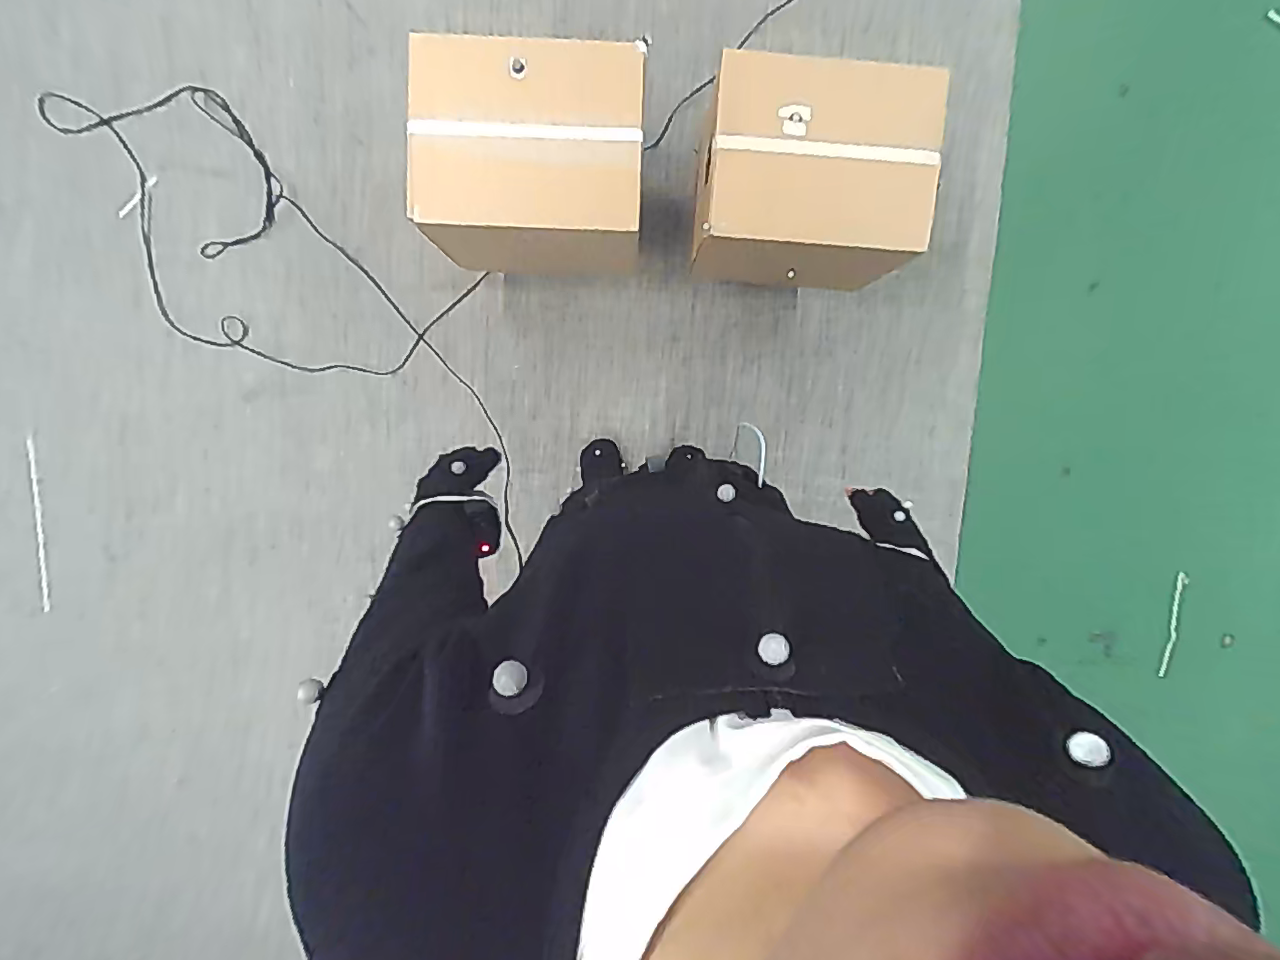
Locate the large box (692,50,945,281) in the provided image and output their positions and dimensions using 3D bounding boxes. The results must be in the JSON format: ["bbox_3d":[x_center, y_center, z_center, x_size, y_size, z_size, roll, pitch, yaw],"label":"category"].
[{"bbox_3d":[0.333,-0.611,1.114,0.408,0.320,0.320,4,97,-1],"label":"large box"}]
